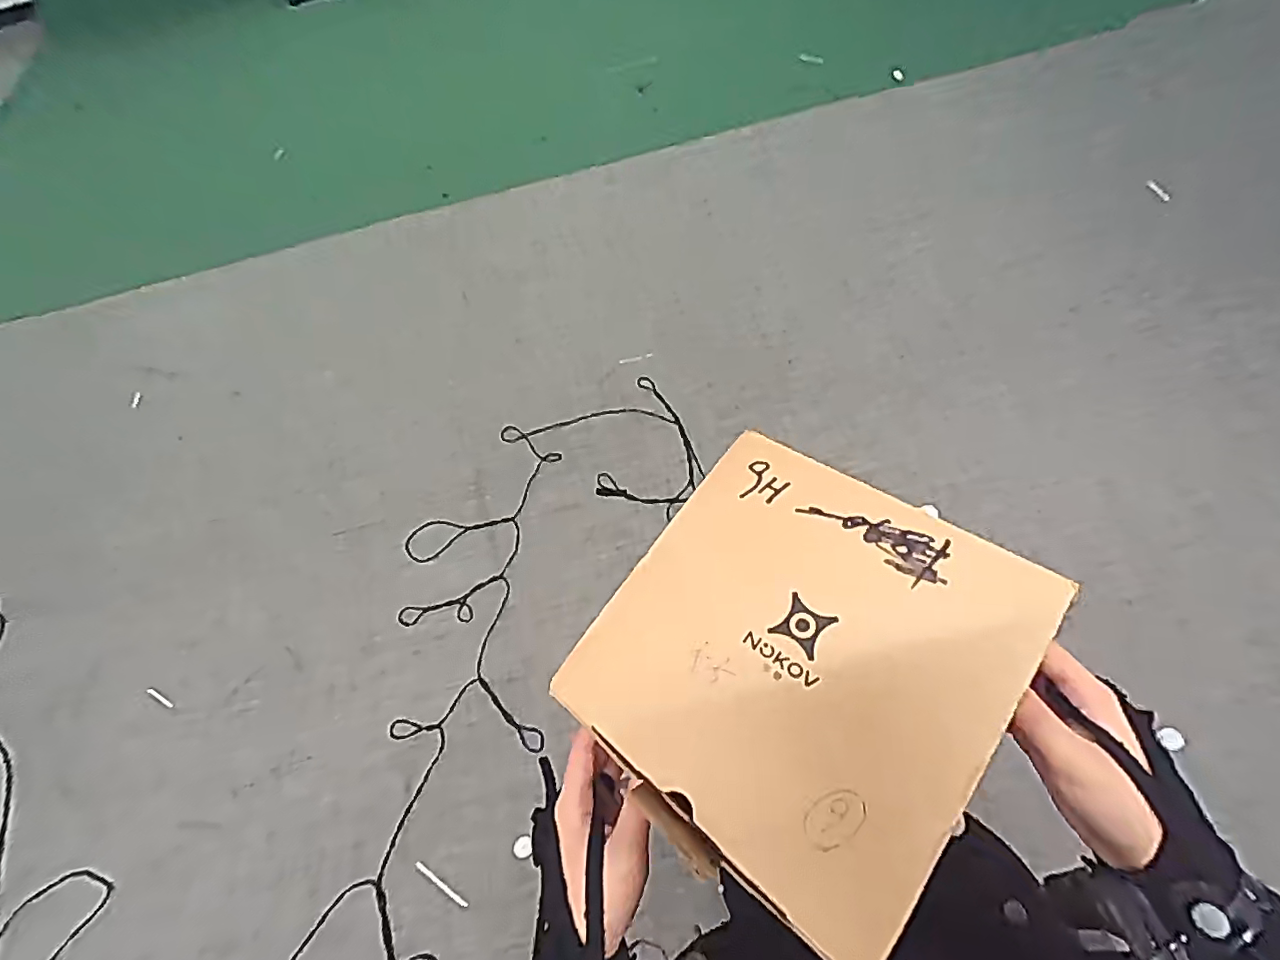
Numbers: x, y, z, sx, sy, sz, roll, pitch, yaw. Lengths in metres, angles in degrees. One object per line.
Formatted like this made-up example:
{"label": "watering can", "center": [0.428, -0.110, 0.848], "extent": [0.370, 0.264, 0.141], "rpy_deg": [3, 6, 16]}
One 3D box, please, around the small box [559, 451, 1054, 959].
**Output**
{"label": "small box", "center": [0.091, 0.121, 0.319], "extent": [0.168, 0.176, 0.179], "rpy_deg": [31, 74, 30]}
